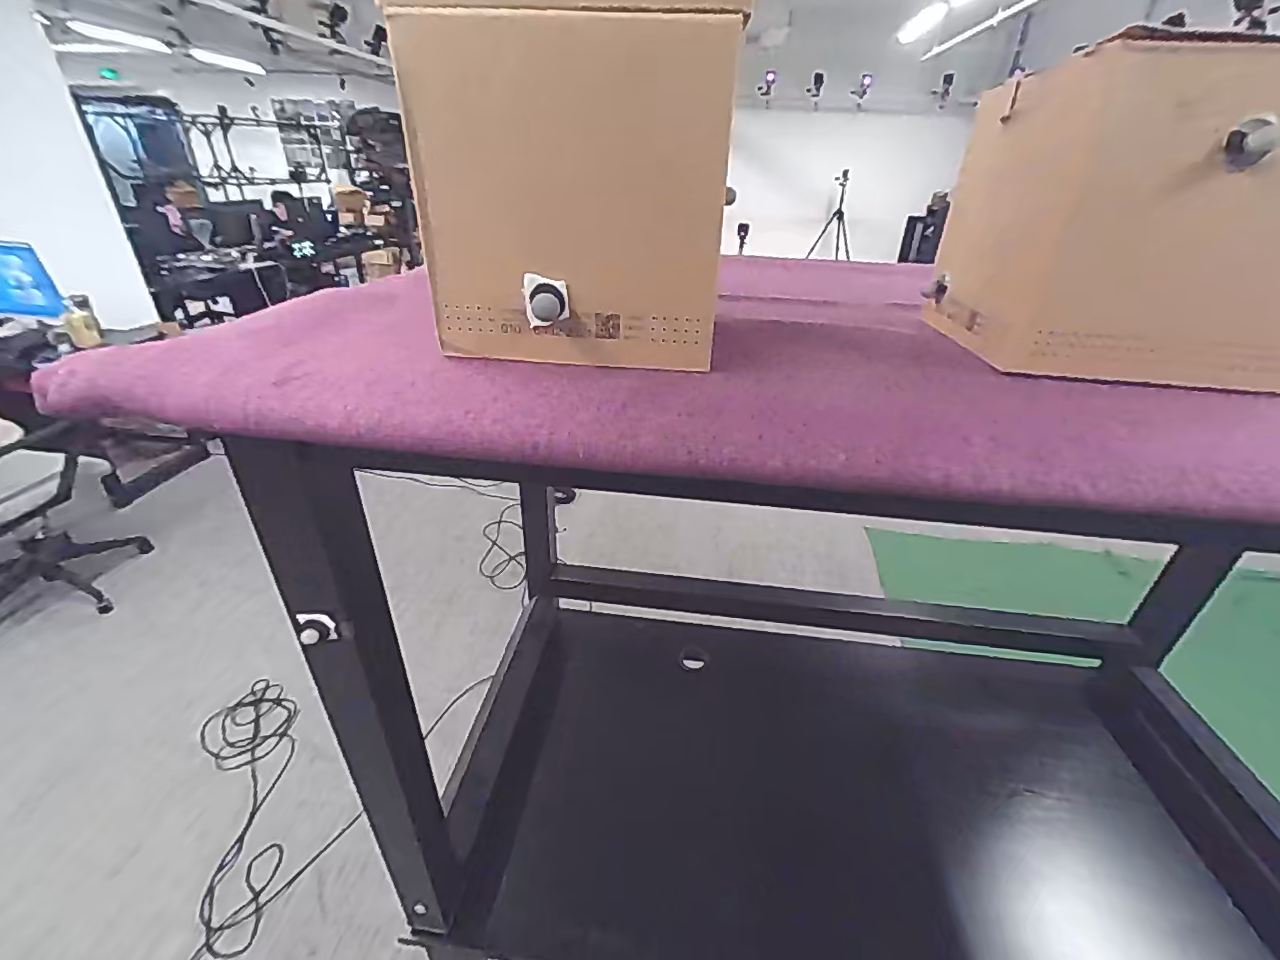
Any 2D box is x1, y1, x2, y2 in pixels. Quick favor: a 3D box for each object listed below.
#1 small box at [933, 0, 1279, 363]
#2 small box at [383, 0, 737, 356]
[{"bbox_3d":[0.315,-0.180,0.350,0.179,0.176,0.168,6,29,5],"label":"small box"},{"bbox_3d":[-0.035,-0.190,0.350,0.168,0.176,0.179,2,31,2],"label":"small box"}]
